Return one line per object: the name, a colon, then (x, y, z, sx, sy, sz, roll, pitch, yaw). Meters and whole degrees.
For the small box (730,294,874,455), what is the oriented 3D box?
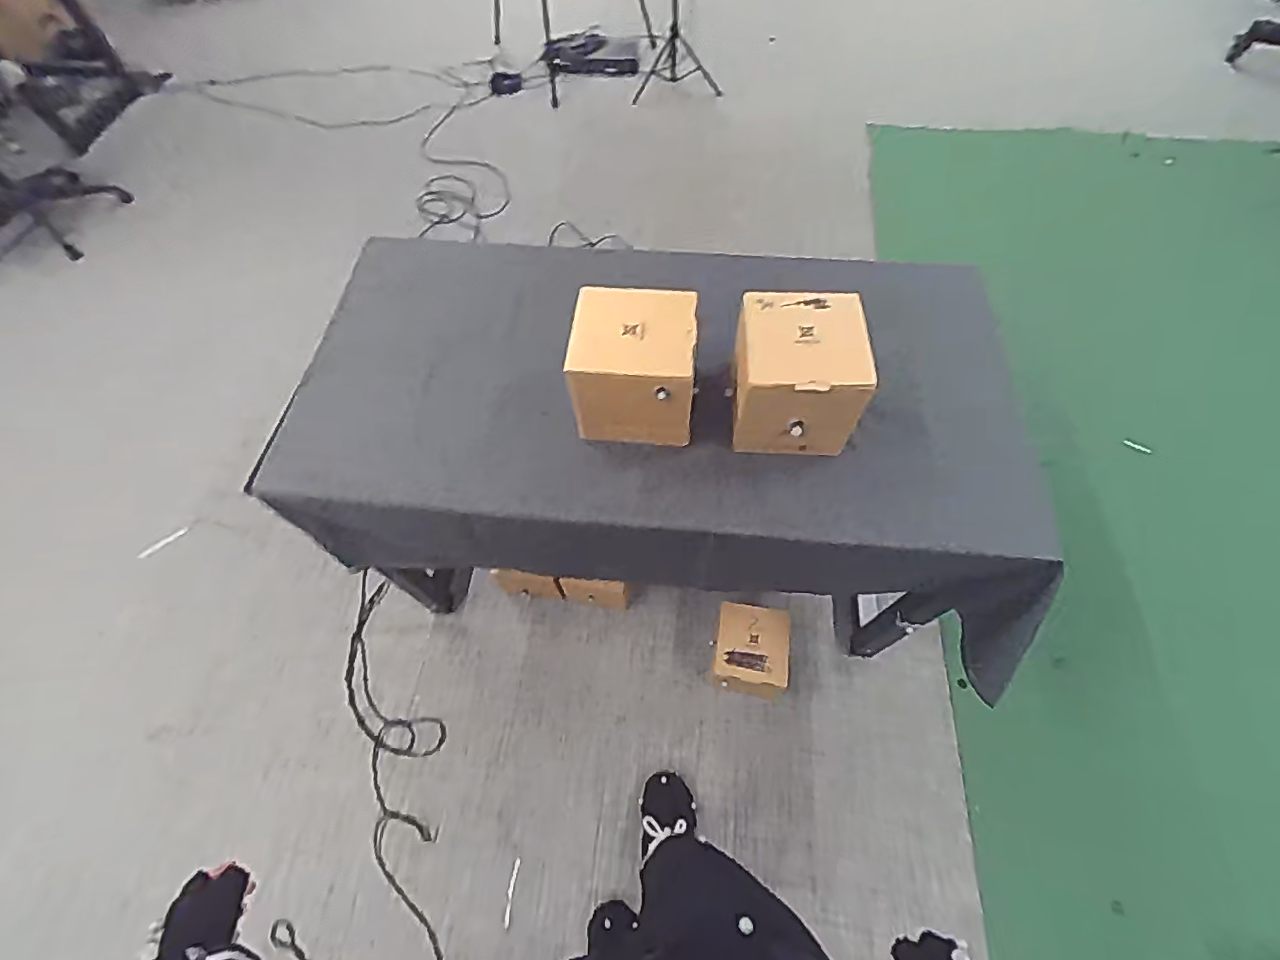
small box: (0.230, -0.152, 0.811, 0.168, 0.176, 0.179, 3, 61, 2)
